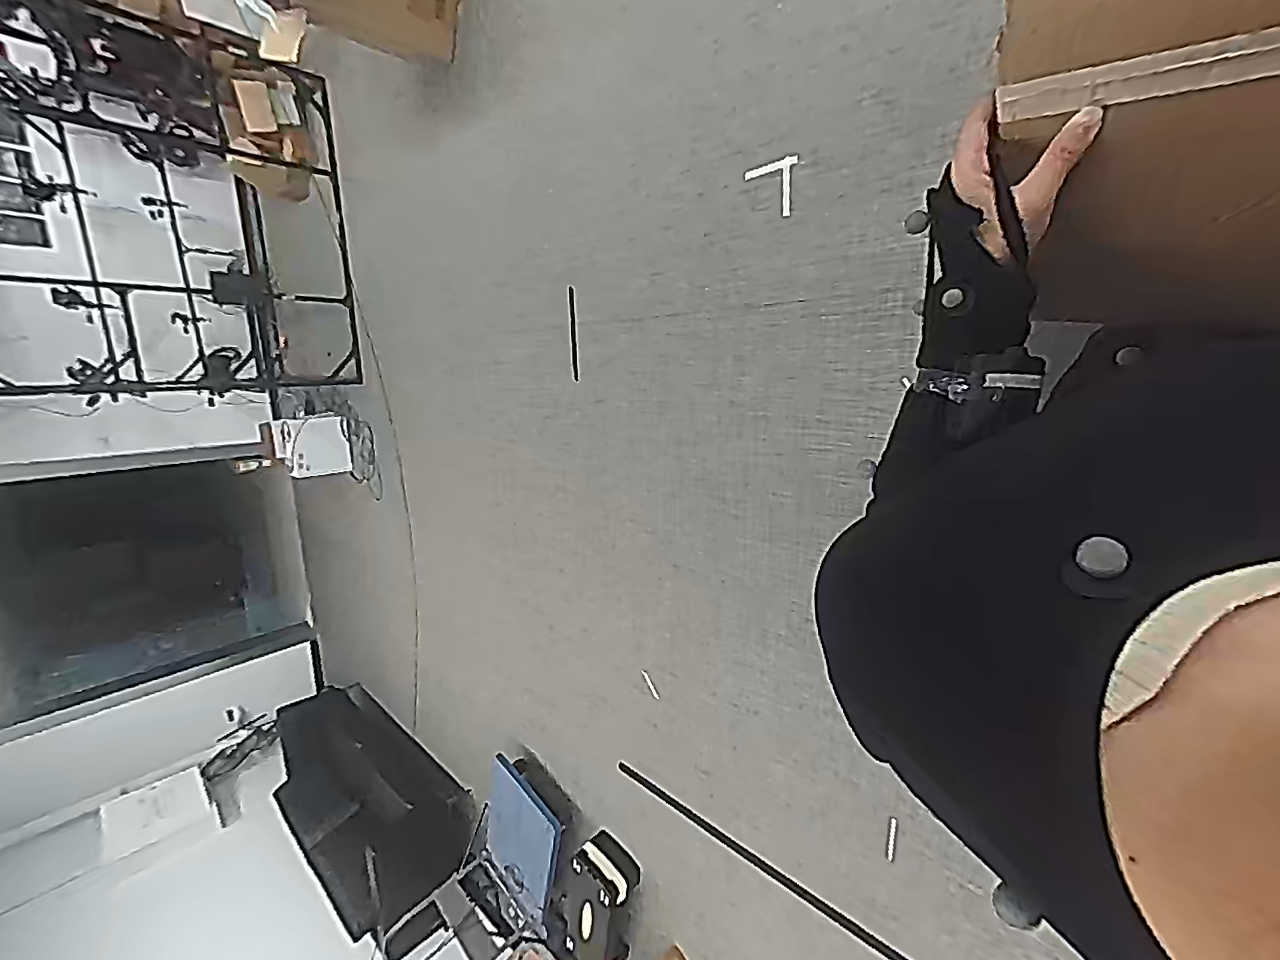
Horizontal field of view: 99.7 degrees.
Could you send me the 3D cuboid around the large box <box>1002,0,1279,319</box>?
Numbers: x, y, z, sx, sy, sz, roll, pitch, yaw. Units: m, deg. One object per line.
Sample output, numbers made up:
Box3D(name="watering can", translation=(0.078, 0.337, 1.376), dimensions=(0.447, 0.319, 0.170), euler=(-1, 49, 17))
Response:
Box3D(name="large box", translation=(0.467, -0.299, 0.278), dimensions=(0.408, 0.320, 0.320), euler=(18, 147, 43))
